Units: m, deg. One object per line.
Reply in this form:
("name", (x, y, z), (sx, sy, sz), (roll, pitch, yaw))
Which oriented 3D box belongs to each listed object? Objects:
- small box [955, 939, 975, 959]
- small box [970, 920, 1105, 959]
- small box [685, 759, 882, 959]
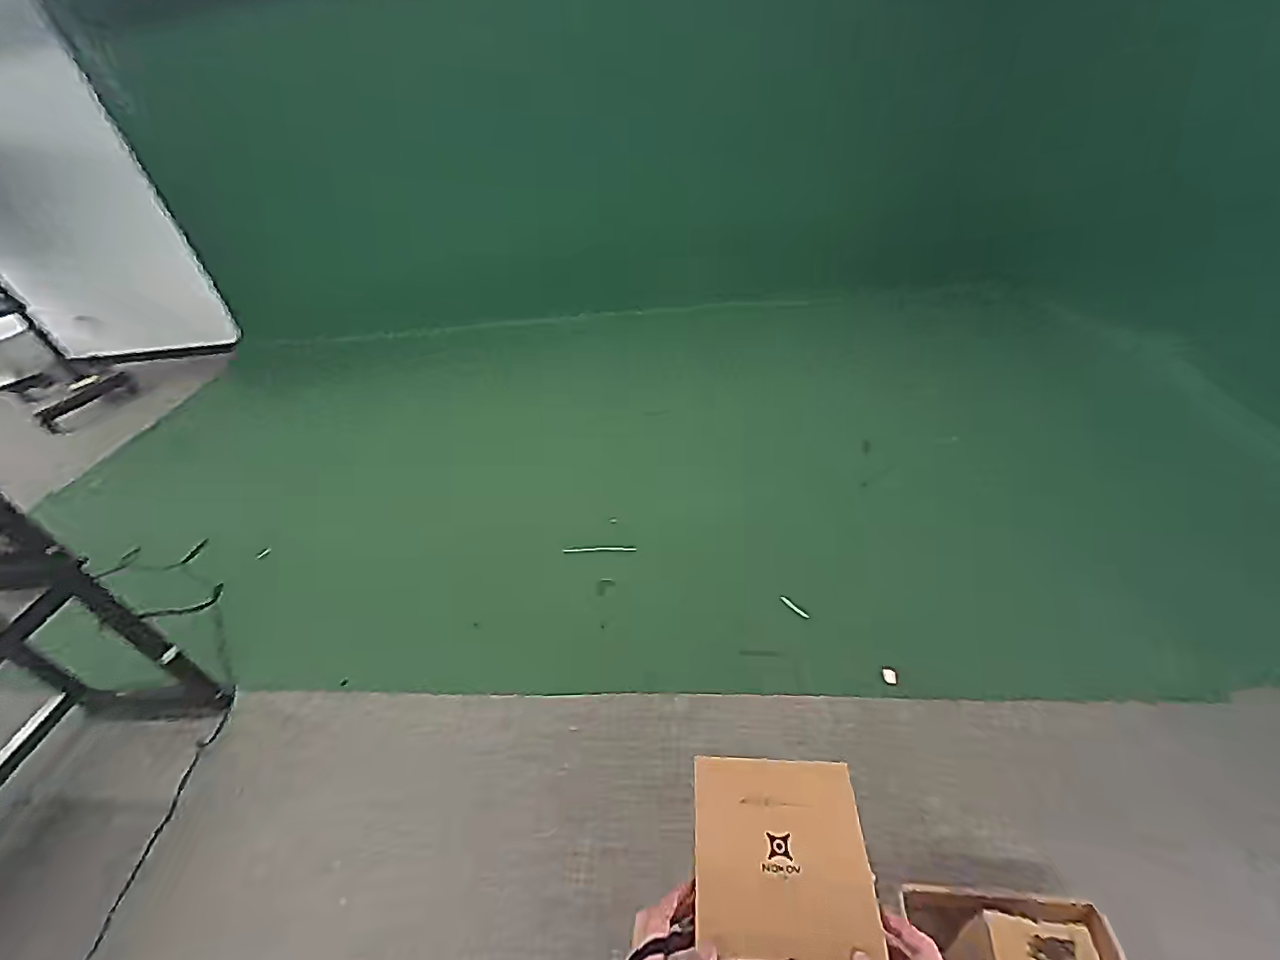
("small box", (0.711, 1.020, 1.027), (0.179, 0.176, 0.168), (7, 42, 17))
("small box", (0.691, 0.895, 0.923), (0.168, 0.176, 0.179), (1, 41, 12))
("small box", (0.132, 0.420, 0.562), (0.168, 0.176, 0.179), (1, 38, 4))
